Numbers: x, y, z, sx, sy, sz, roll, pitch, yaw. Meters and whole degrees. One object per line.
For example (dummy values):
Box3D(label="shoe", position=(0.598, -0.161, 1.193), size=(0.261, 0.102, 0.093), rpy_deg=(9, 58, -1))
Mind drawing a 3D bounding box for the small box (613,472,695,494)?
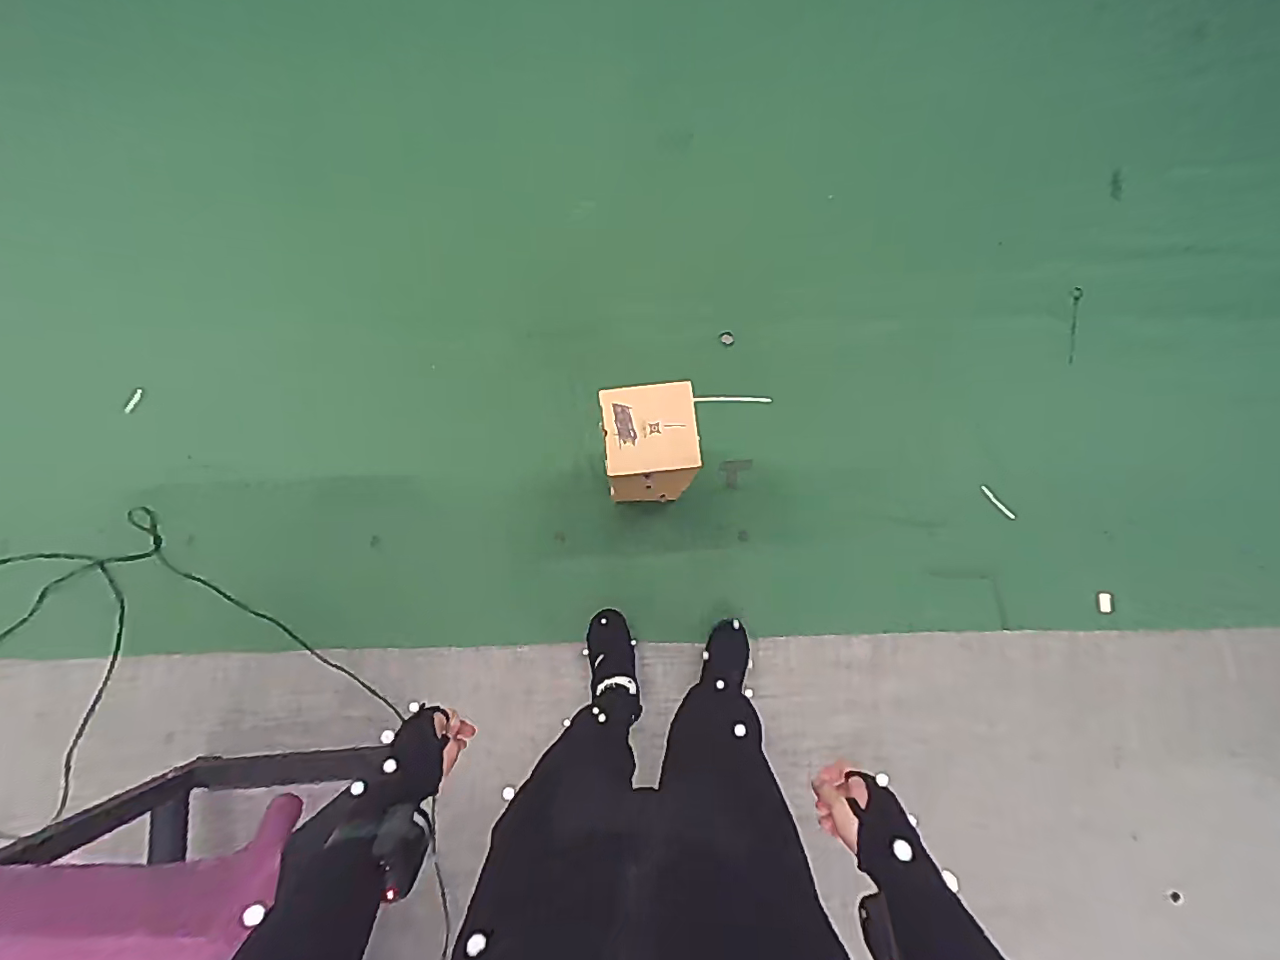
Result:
Box3D(label="small box", position=(0.027, -0.061, 1.239), size=(0.179, 0.176, 0.168), rpy_deg=(-4, 82, 1))

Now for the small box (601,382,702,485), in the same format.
Box3D(label="small box", position=(0.022, -0.086, 1.076), size=(0.179, 0.176, 0.168), rpy_deg=(-6, 83, -1))

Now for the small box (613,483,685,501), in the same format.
Box3D(label="small box", position=(0.020, -0.037, 1.399), size=(0.179, 0.176, 0.168), rpy_deg=(-1, 82, 0))
